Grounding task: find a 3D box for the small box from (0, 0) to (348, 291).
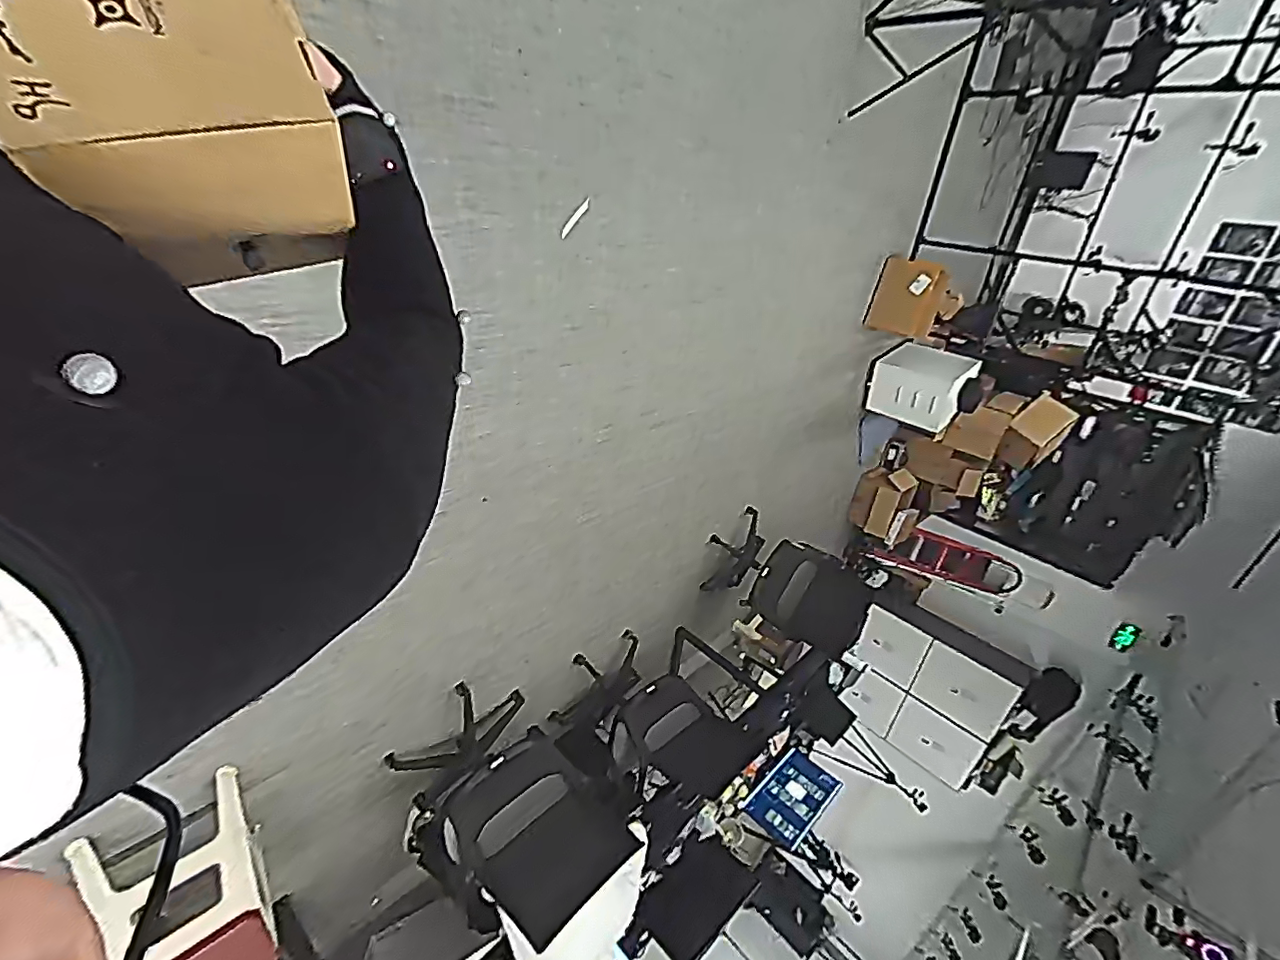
[{"bbox_3d":[-0.348,-0.275,0.420,0.179,0.176,0.168,-25,89,-25],"label":"small box"}]
